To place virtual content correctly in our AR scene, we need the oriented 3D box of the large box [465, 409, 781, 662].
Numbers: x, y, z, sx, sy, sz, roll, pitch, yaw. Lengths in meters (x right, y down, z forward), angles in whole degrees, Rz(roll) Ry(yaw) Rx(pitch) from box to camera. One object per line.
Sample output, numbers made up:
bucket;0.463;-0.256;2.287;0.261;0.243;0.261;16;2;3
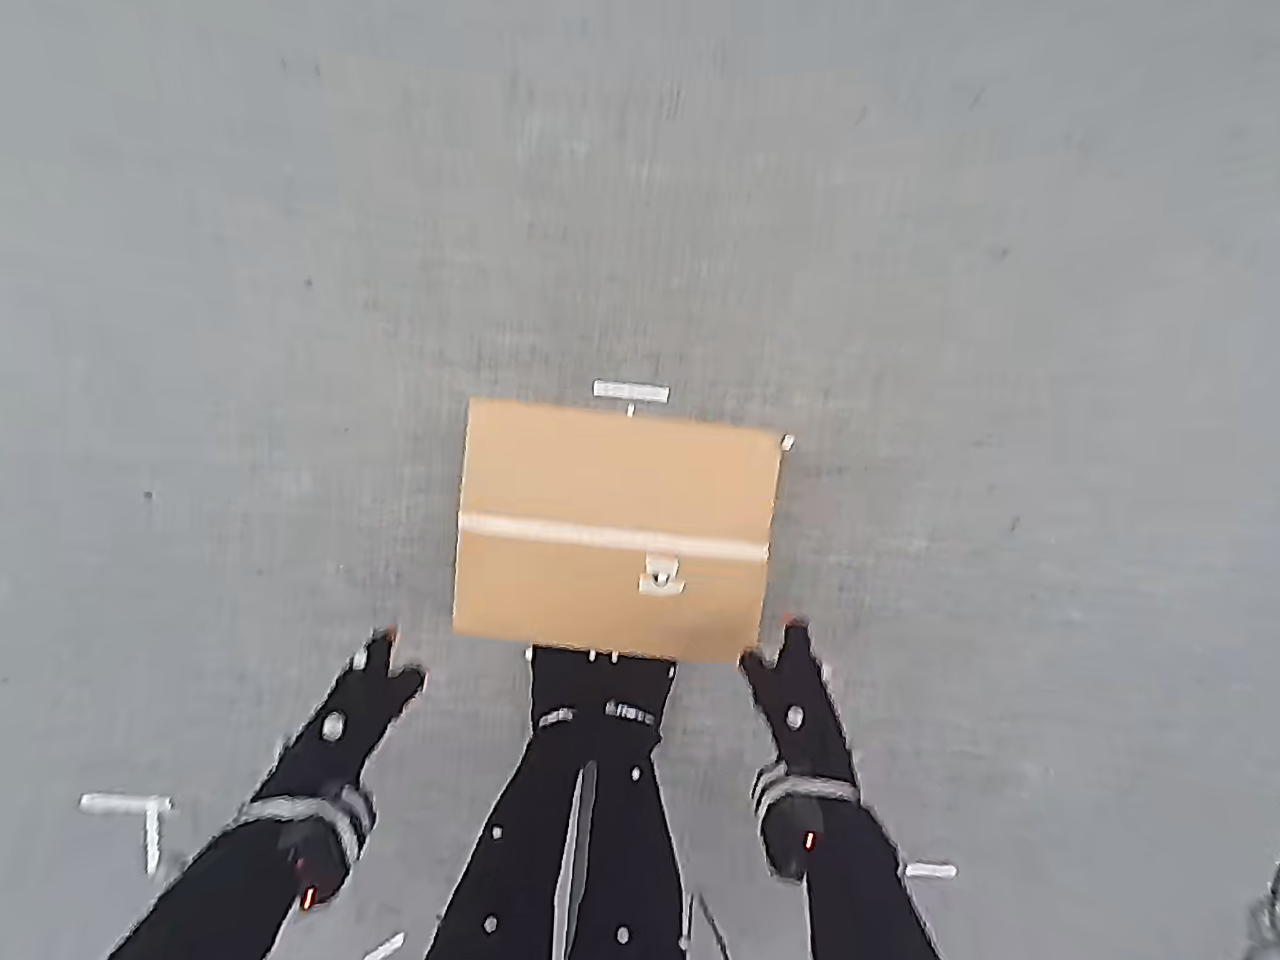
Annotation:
large box;-0.028;0.068;0.863;0.408;0.320;0.320;6;95;-1
